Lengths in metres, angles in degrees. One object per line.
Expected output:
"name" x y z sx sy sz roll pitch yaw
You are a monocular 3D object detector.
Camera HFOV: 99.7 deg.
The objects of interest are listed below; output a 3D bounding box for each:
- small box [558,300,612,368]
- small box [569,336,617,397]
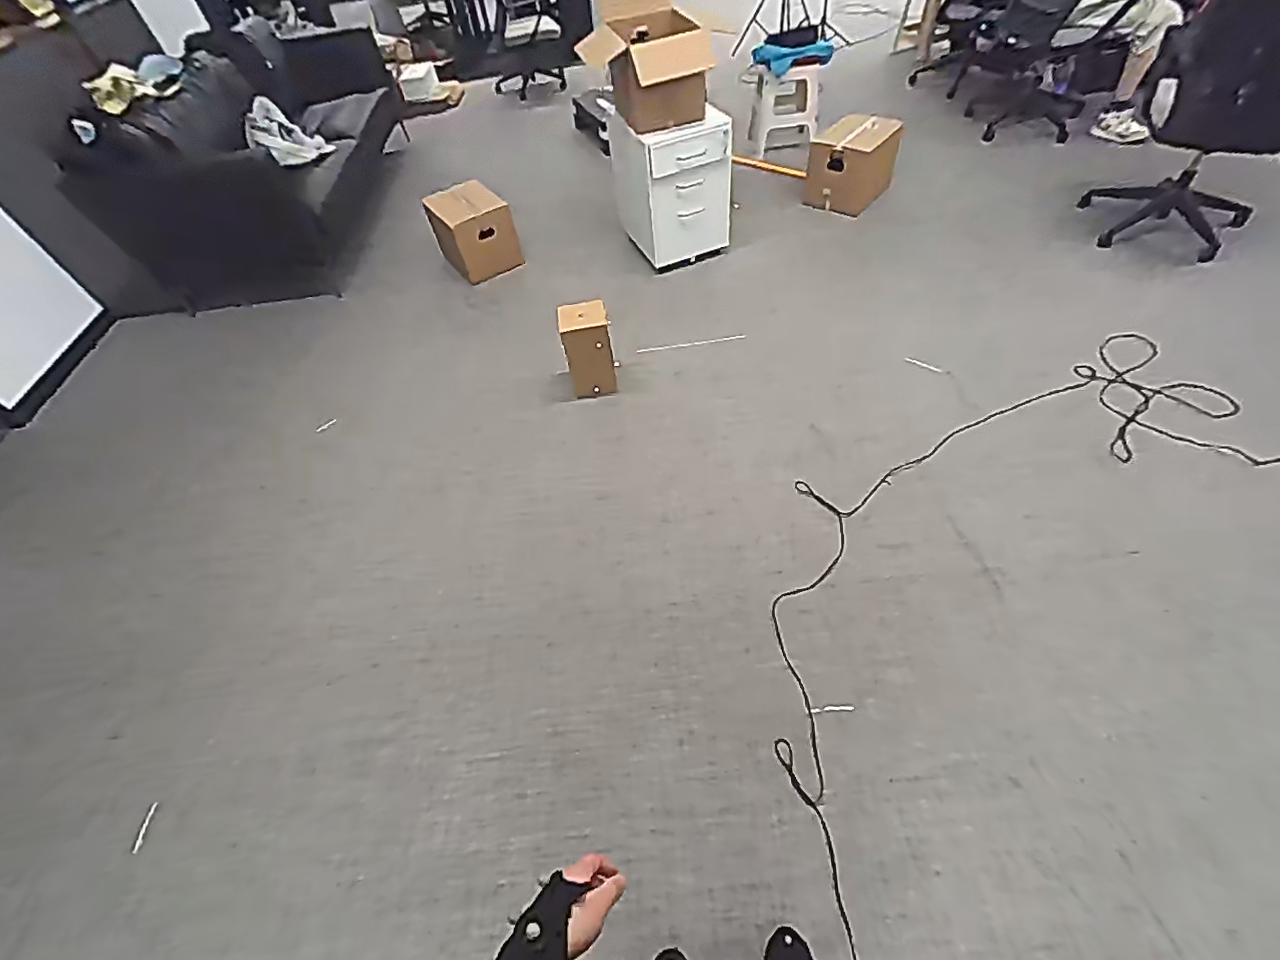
"small box" -0.204 -0.550 2.043 0.179 0.176 0.168 -12 50 1
"small box" -0.188 -0.458 2.178 0.179 0.176 0.168 -8 51 1
